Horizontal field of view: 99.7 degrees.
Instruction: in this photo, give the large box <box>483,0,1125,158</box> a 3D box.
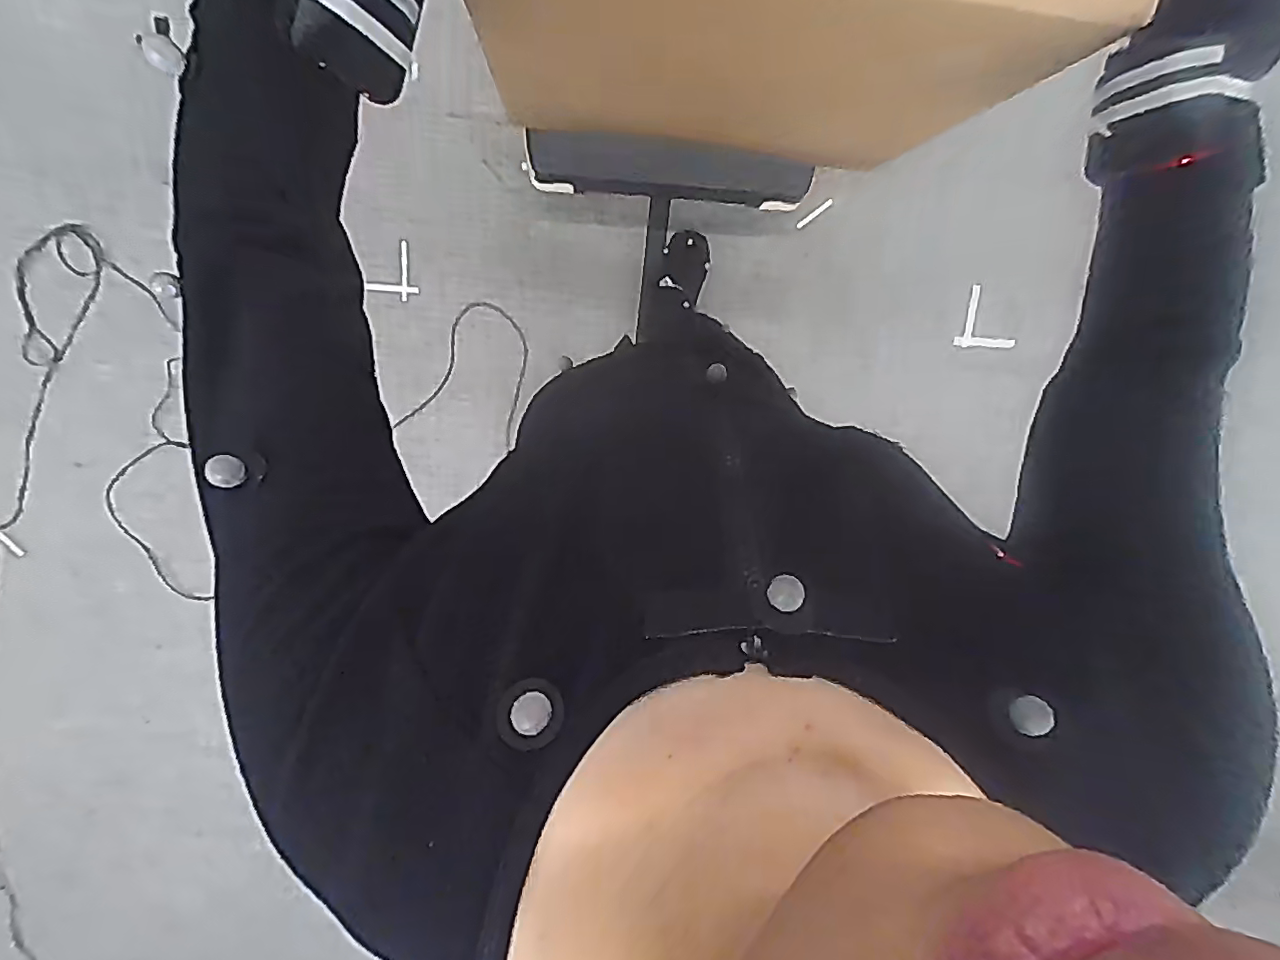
[{"bbox_3d":[0.089,-0.473,0.407,0.408,0.320,0.320,2,106,-7],"label":"large box"}]
